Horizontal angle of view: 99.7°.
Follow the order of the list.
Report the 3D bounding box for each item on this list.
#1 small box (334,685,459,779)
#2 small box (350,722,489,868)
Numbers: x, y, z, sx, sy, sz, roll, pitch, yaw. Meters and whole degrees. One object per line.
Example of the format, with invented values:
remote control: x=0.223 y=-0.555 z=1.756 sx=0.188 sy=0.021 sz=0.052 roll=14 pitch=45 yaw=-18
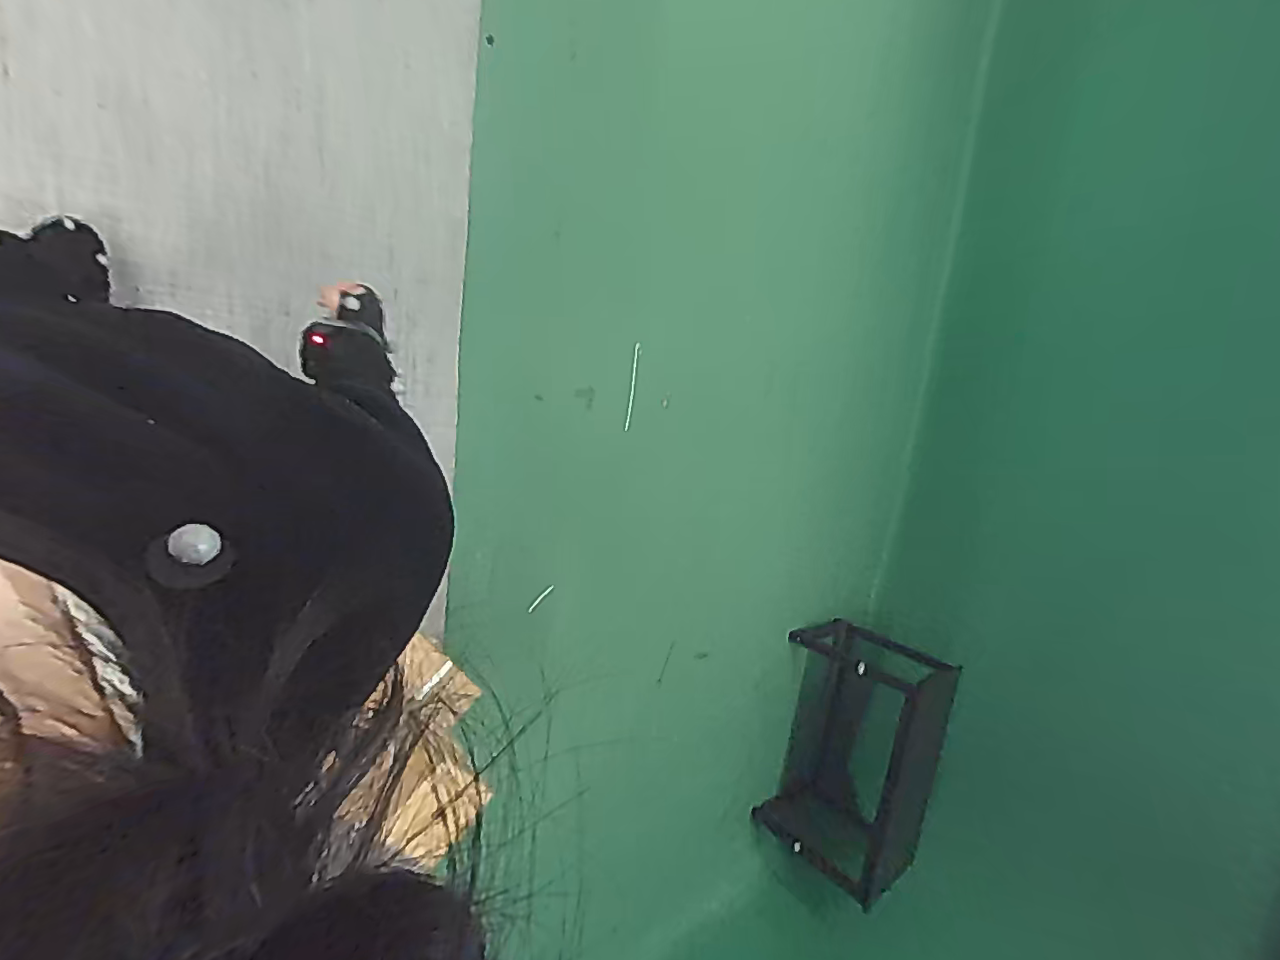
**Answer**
small box: x=-0.552 y=0.603 z=1.226 sx=0.168 sy=0.176 sz=0.179 roll=-43 pitch=126 yaw=-26
small box: x=-0.449 y=0.633 z=1.103 sx=0.168 sy=0.176 sz=0.179 roll=-46 pitch=128 yaw=-25
